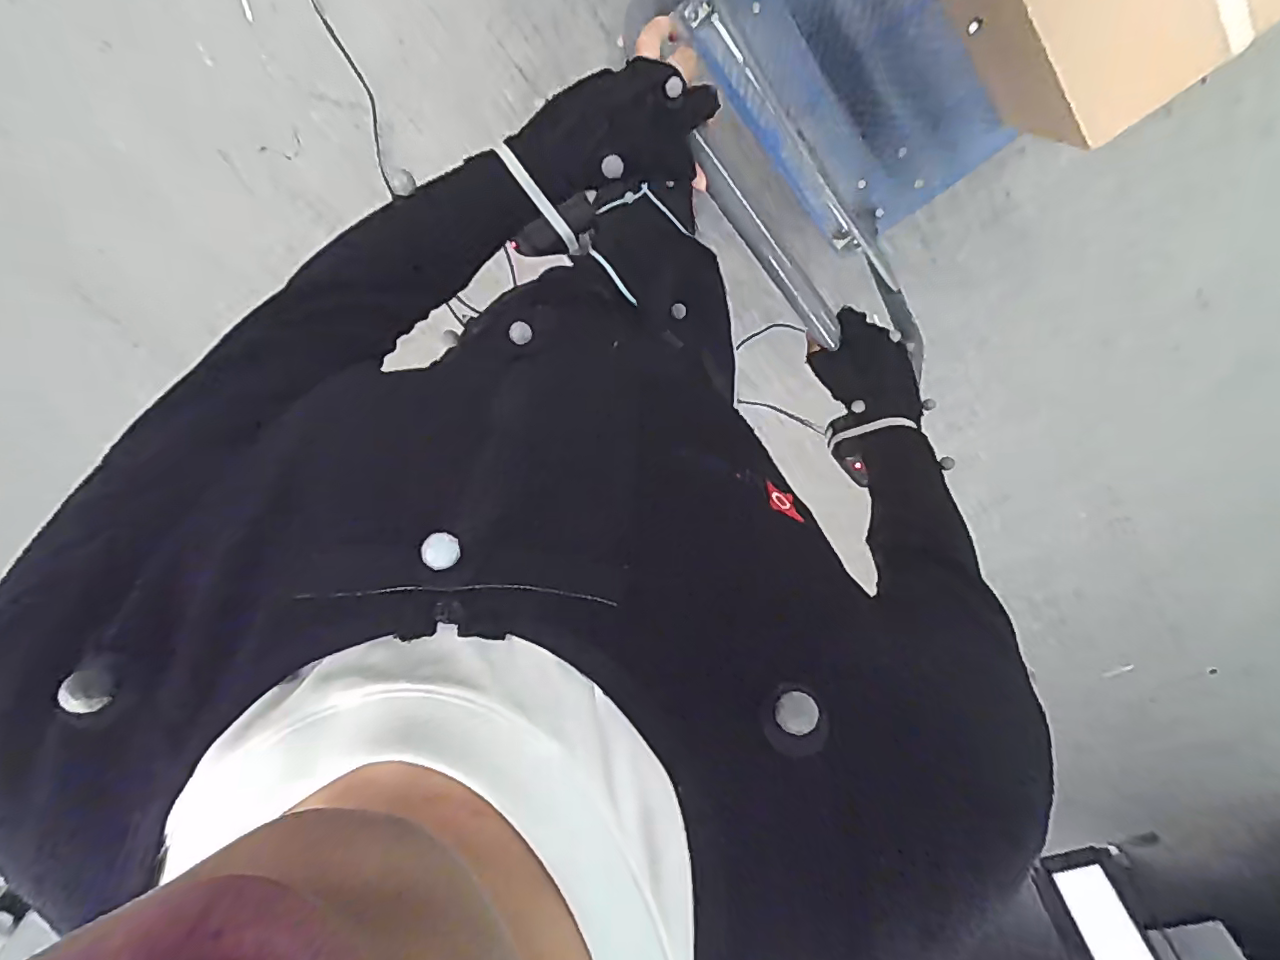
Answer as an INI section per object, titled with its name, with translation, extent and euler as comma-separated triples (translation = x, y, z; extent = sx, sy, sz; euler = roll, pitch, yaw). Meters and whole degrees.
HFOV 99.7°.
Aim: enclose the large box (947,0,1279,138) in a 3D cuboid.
[large box]
translation = 0.604, -0.751, 0.704
extent = 0.320, 0.320, 0.408
euler = -35, 115, 31
